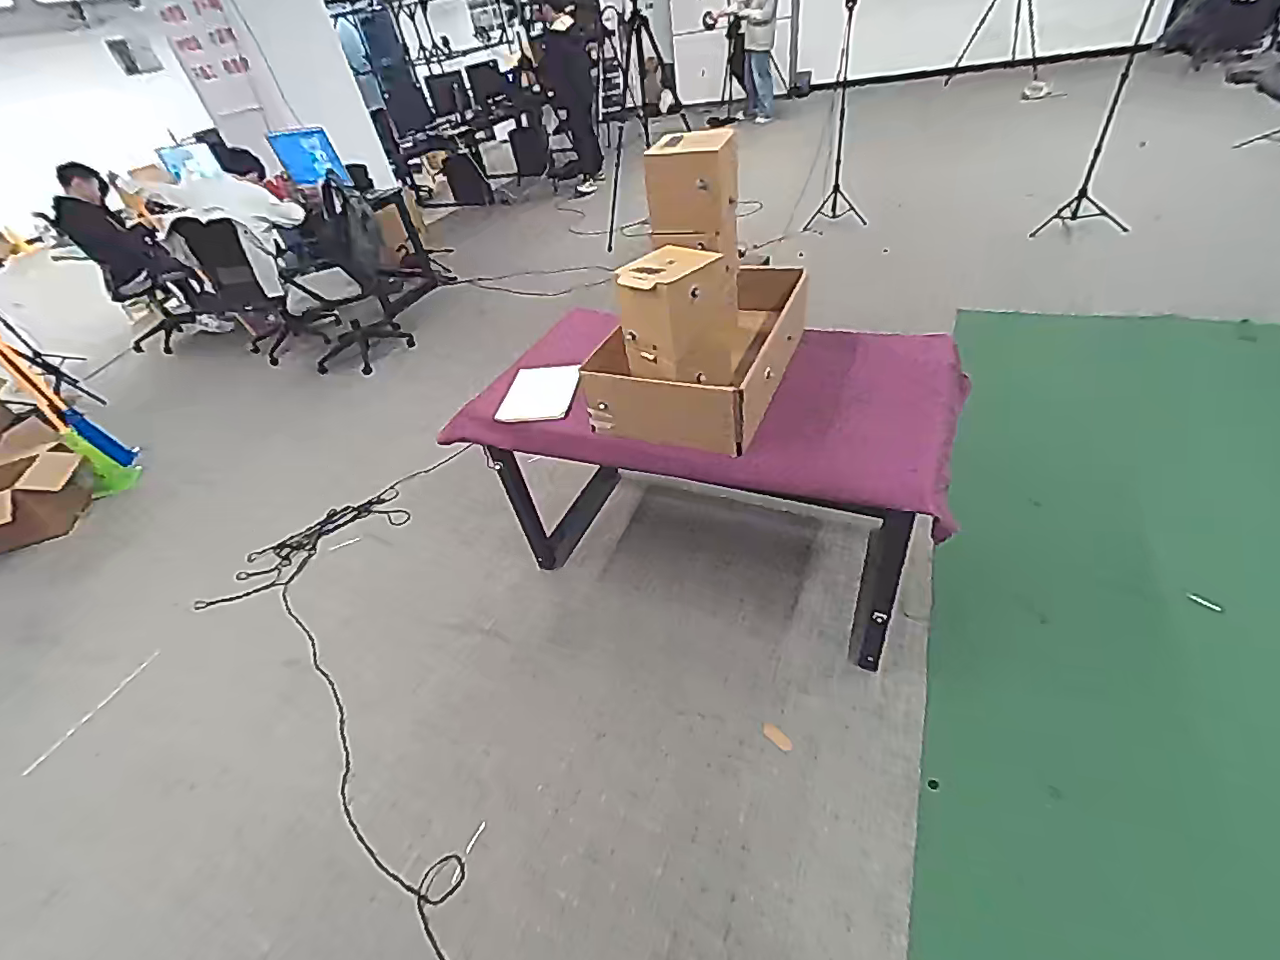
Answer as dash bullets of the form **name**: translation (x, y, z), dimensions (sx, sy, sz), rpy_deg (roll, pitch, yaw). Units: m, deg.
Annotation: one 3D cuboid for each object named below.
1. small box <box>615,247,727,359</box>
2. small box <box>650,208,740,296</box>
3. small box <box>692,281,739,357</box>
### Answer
- **small box**: translation (0.074, -0.382, 1.169), dimensions (0.179, 0.176, 0.168), rpy_deg (-36, 45, -27)
- **small box**: translation (0.145, -0.570, 1.369), dimensions (0.179, 0.176, 0.168), rpy_deg (10, 47, 23)
- **small box**: translation (0.168, -0.456, 1.482), dimensions (0.168, 0.176, 0.179), rpy_deg (12, 49, 25)
